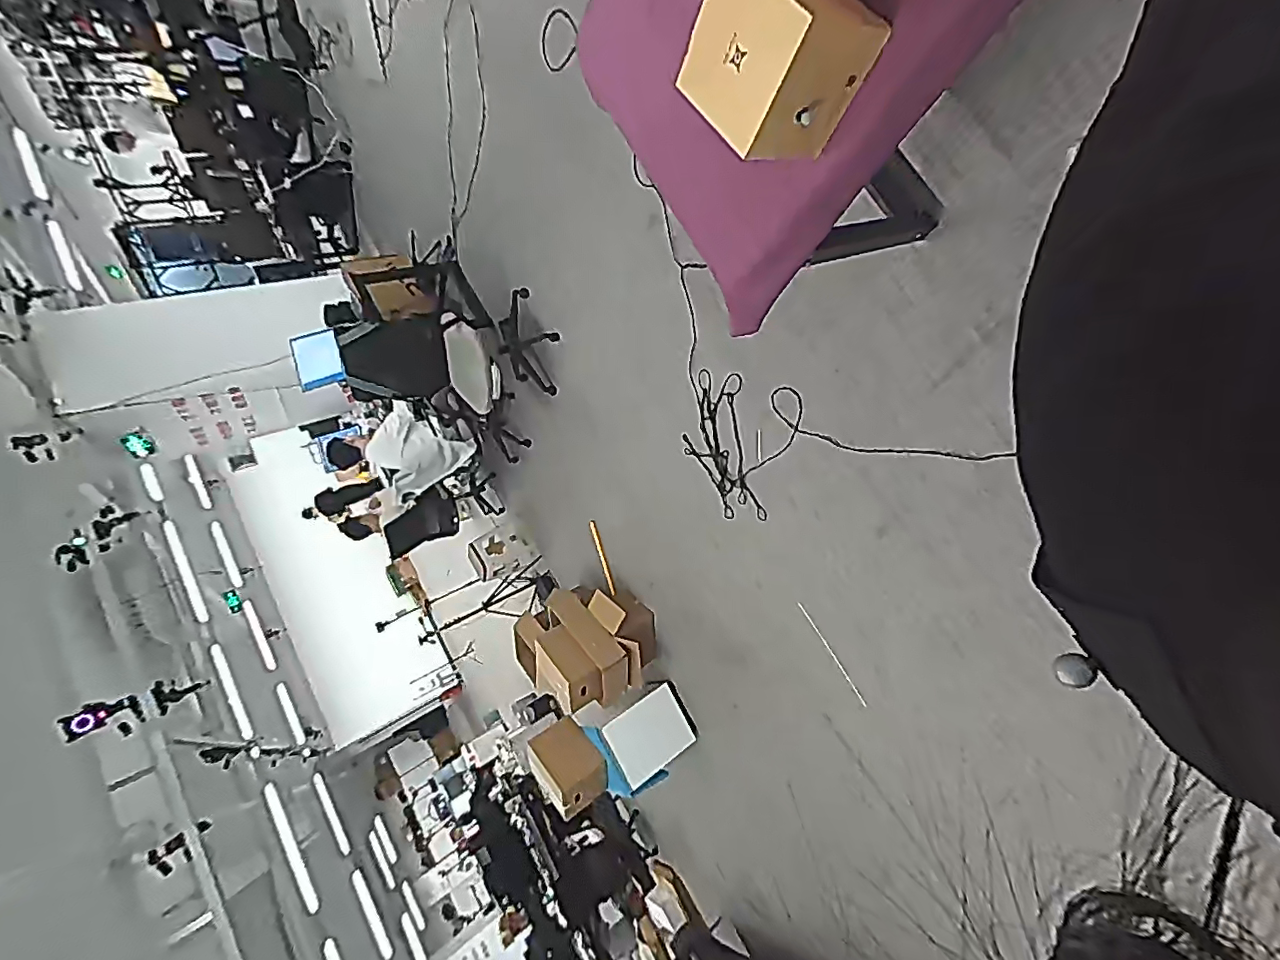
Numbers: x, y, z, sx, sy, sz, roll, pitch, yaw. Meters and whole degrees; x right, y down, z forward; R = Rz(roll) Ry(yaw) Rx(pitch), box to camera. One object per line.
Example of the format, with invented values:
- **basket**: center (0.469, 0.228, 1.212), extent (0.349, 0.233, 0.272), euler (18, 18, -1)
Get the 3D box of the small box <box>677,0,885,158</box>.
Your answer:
- **small box**: center (0.186, -0.570, 0.729), extent (0.179, 0.176, 0.168), euler (57, 148, 18)
